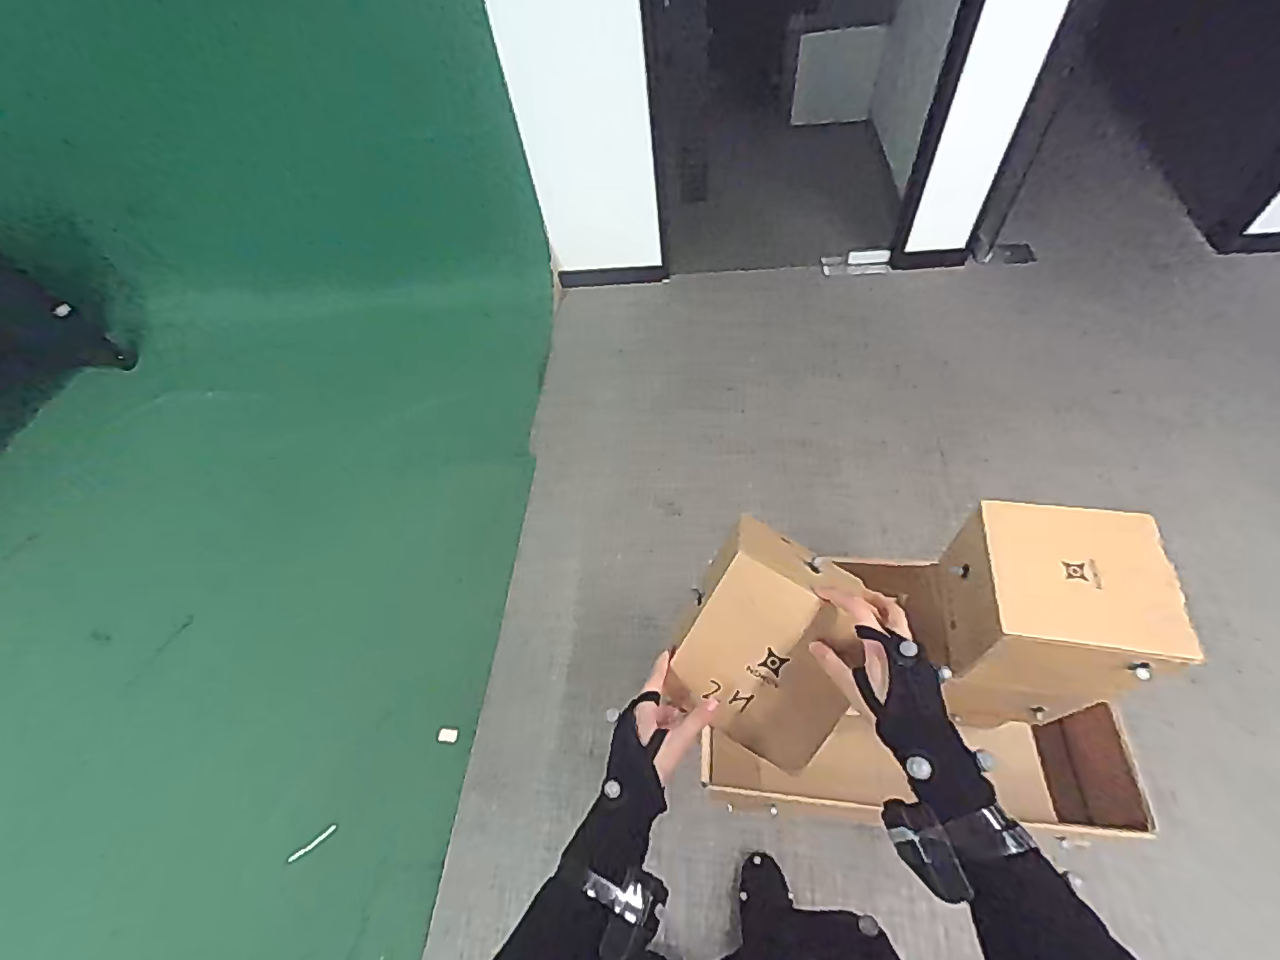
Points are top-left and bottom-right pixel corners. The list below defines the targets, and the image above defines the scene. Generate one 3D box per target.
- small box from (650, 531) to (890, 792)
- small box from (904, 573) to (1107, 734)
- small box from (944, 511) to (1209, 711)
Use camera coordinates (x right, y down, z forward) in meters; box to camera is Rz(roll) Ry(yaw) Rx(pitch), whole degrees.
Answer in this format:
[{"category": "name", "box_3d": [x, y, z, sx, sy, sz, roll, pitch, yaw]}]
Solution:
[{"category": "small box", "box_3d": [0.132, 0.178, 0.589, 0.168, 0.176, 0.179, 29, 104, 6]}, {"category": "small box", "box_3d": [0.492, 0.248, 0.761, 0.179, 0.176, 0.168, 4, 56, 13]}, {"category": "small box", "box_3d": [0.474, 0.156, 0.629, 0.179, 0.176, 0.168, 6, 56, 12]}]
